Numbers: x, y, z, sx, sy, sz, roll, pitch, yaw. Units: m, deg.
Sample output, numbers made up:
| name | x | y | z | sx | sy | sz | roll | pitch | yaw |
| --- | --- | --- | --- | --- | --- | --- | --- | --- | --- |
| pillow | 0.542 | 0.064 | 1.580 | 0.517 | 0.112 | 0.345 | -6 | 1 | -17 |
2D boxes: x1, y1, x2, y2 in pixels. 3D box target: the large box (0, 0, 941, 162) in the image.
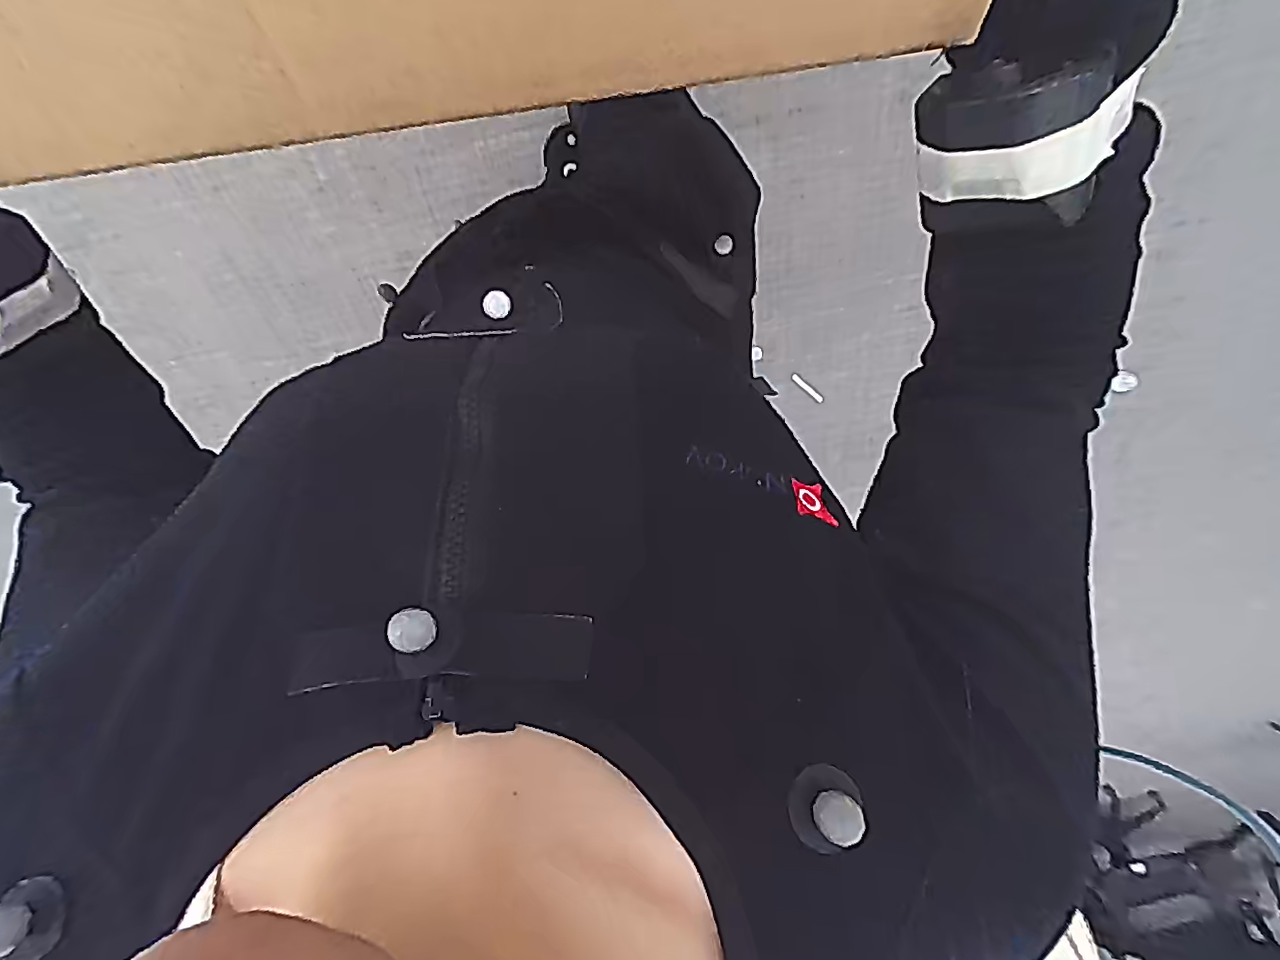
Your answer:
| name | x | y | z | sx | sy | sz | roll | pitch | yaw |
| --- | --- | --- | --- | --- | --- | --- | --- | --- | --- |
| large box | -0.108 | -0.350 | 0.152 | 0.408 | 0.320 | 0.320 | -7 | 148 | 1 |
